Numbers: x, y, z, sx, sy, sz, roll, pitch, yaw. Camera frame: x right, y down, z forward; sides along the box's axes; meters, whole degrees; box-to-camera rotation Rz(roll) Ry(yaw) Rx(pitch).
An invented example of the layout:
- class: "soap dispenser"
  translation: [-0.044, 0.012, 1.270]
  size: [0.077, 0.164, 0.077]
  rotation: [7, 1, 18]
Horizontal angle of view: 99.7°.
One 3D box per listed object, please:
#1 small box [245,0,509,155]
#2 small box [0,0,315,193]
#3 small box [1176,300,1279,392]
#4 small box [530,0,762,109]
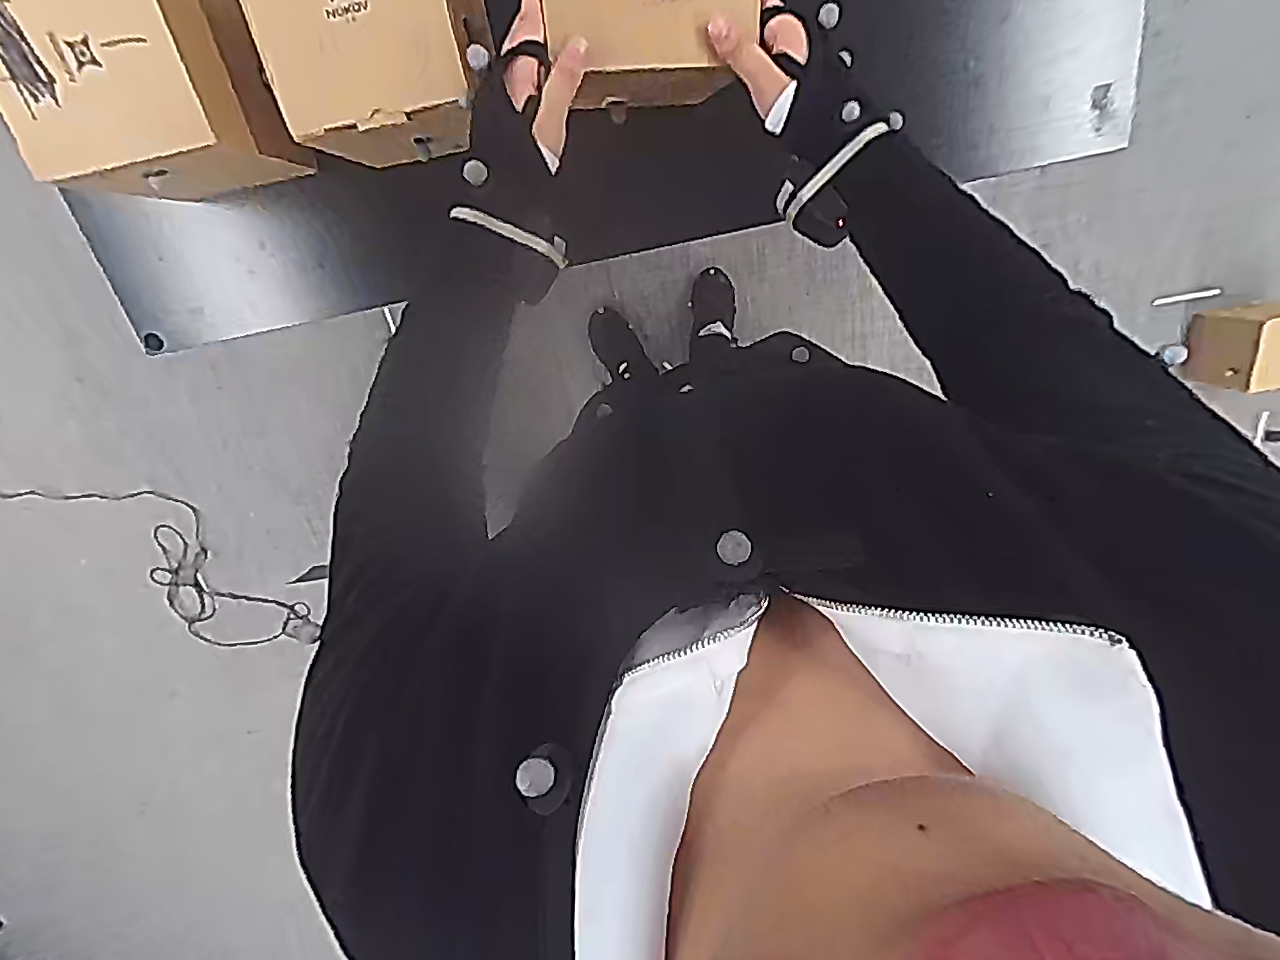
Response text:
- class: "small box"
  translation: [-0.236, -0.422, 0.509]
  size: [0.168, 0.176, 0.179]
  rotation: [-9, 113, 4]
- class: "small box"
  translation: [-0.466, -0.390, 0.523]
  size: [0.179, 0.176, 0.168]
  rotation: [-10, 113, 4]
- class: "small box"
  translation: [1.484, -0.333, 1.329]
  size: [0.168, 0.176, 0.179]
  rotation: [-11, 112, 5]
- class: "small box"
  translation: [-0.007, -0.426, 0.445]
  size: [0.168, 0.176, 0.179]
  rotation: [-8, 118, -9]
